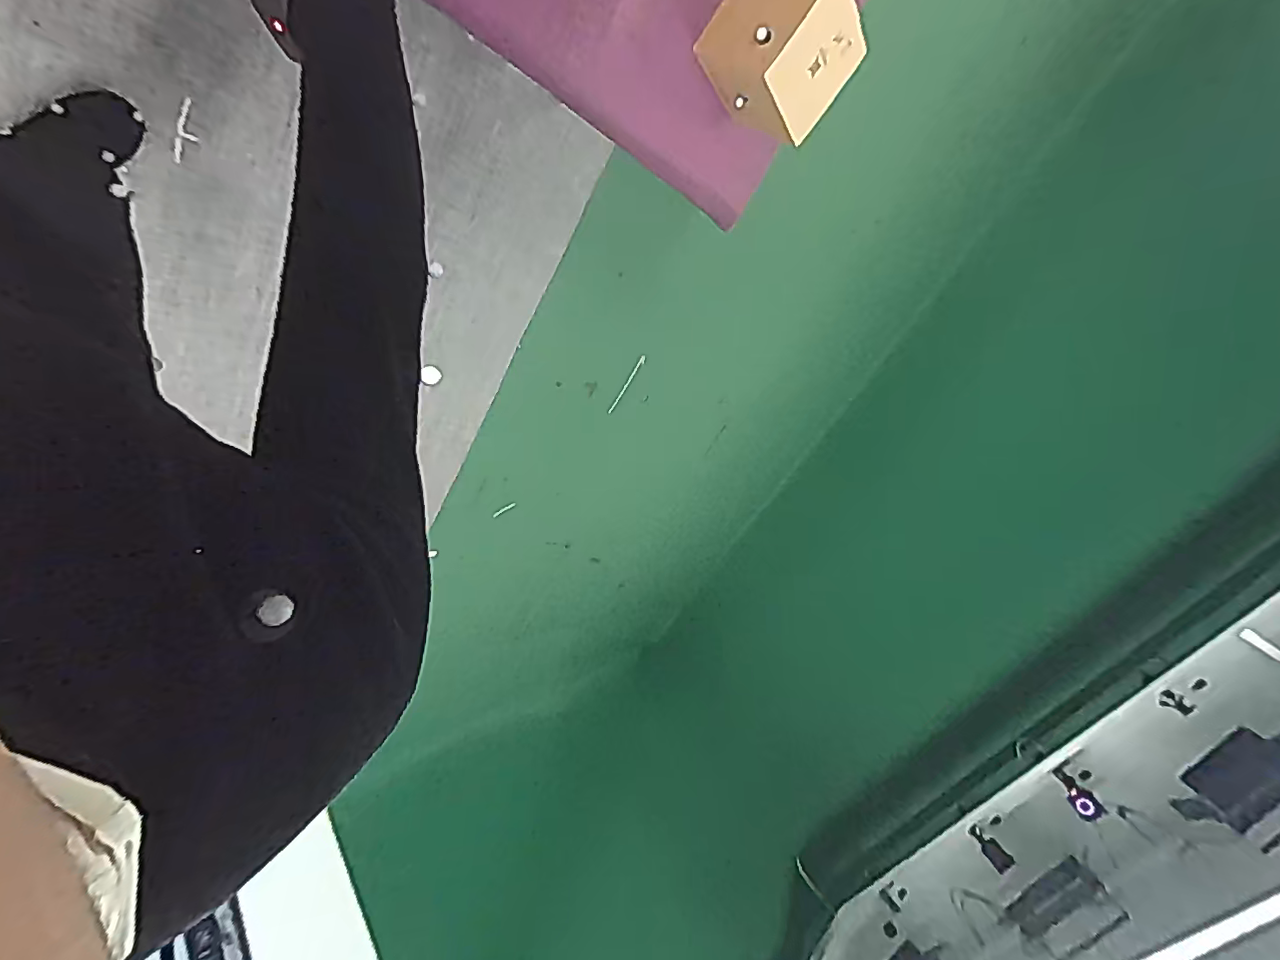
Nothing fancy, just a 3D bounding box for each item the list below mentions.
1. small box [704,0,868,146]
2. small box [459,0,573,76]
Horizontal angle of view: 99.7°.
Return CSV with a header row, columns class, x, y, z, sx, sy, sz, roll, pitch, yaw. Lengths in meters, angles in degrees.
class,x,y,z,sx,sy,sz,roll,pitch,yaw
small box,0.226,-0.690,0.865,0.179,0.176,0.168,-52,149,15
small box,-0.287,-1.074,1.226,0.168,0.176,0.179,-3,131,-49
